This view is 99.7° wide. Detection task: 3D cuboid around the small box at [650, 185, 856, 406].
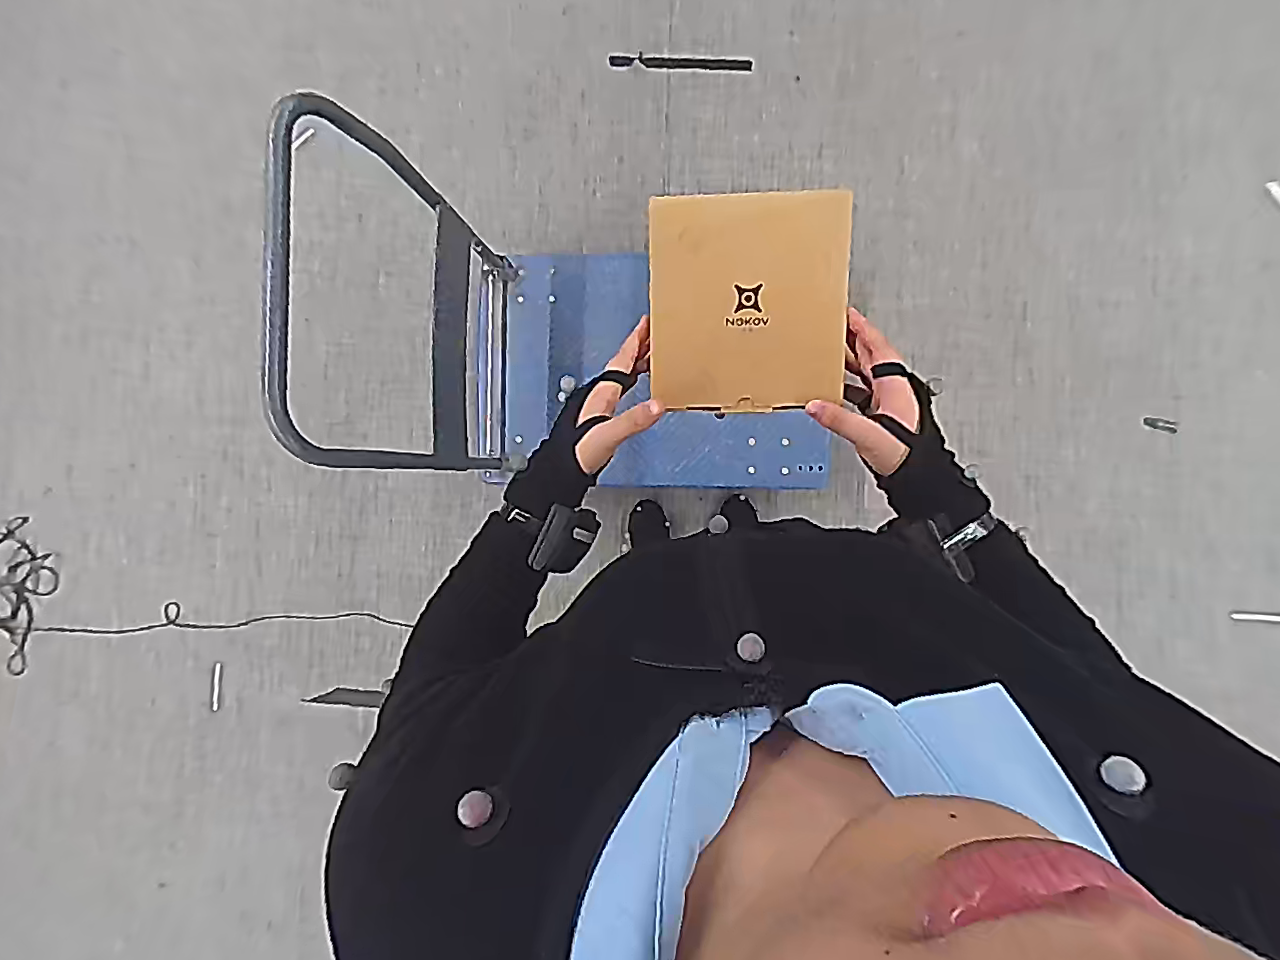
[{"bbox_3d":[0.094,-0.162,0.523,0.168,0.176,0.179,0,100,3],"label":"small box"}]
